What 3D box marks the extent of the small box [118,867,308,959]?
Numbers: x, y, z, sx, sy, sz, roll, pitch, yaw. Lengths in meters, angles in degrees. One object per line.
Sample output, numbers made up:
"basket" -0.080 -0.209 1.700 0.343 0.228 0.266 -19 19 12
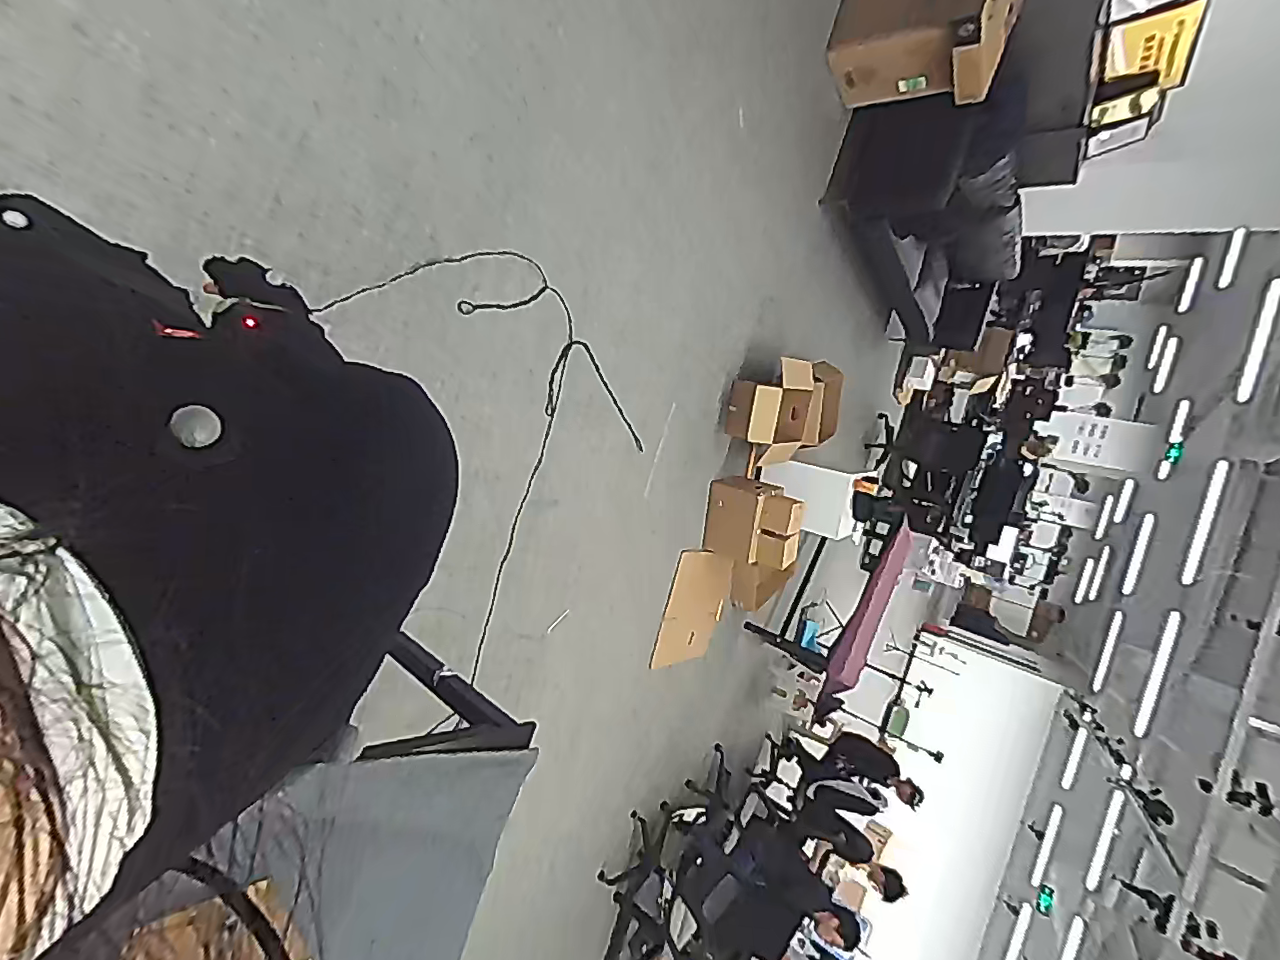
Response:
"small box" -0.595 0.688 0.736 0.168 0.176 0.179 18 89 -53
